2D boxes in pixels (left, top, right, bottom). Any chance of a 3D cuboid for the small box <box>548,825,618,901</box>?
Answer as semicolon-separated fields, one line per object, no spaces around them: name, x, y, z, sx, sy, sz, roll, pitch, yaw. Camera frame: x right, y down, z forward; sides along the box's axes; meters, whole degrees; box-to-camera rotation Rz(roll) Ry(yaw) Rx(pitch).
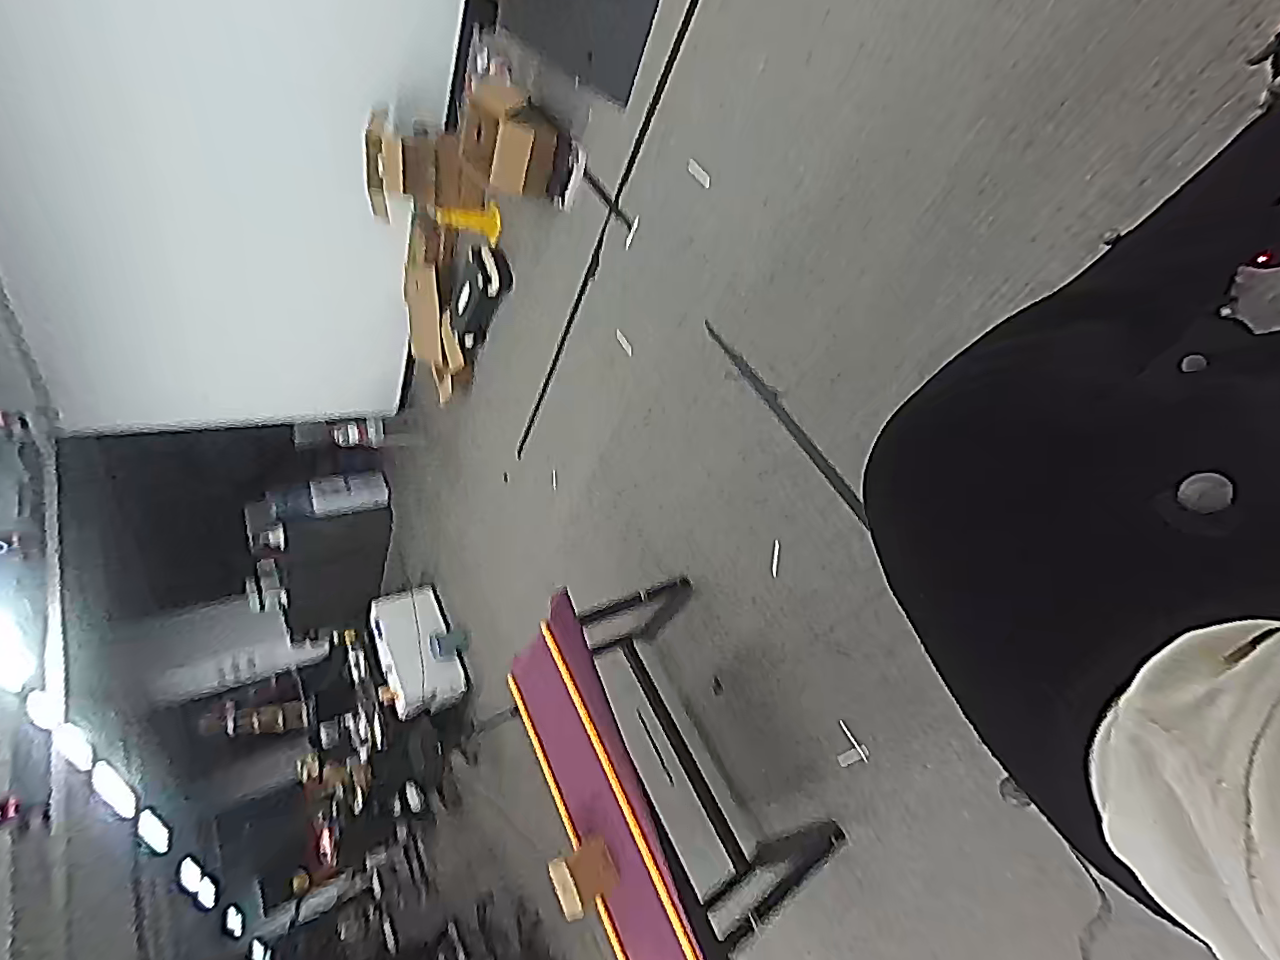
small box;-0.209;1.407;1.988;0.168;0.176;0.179;59;136;24
